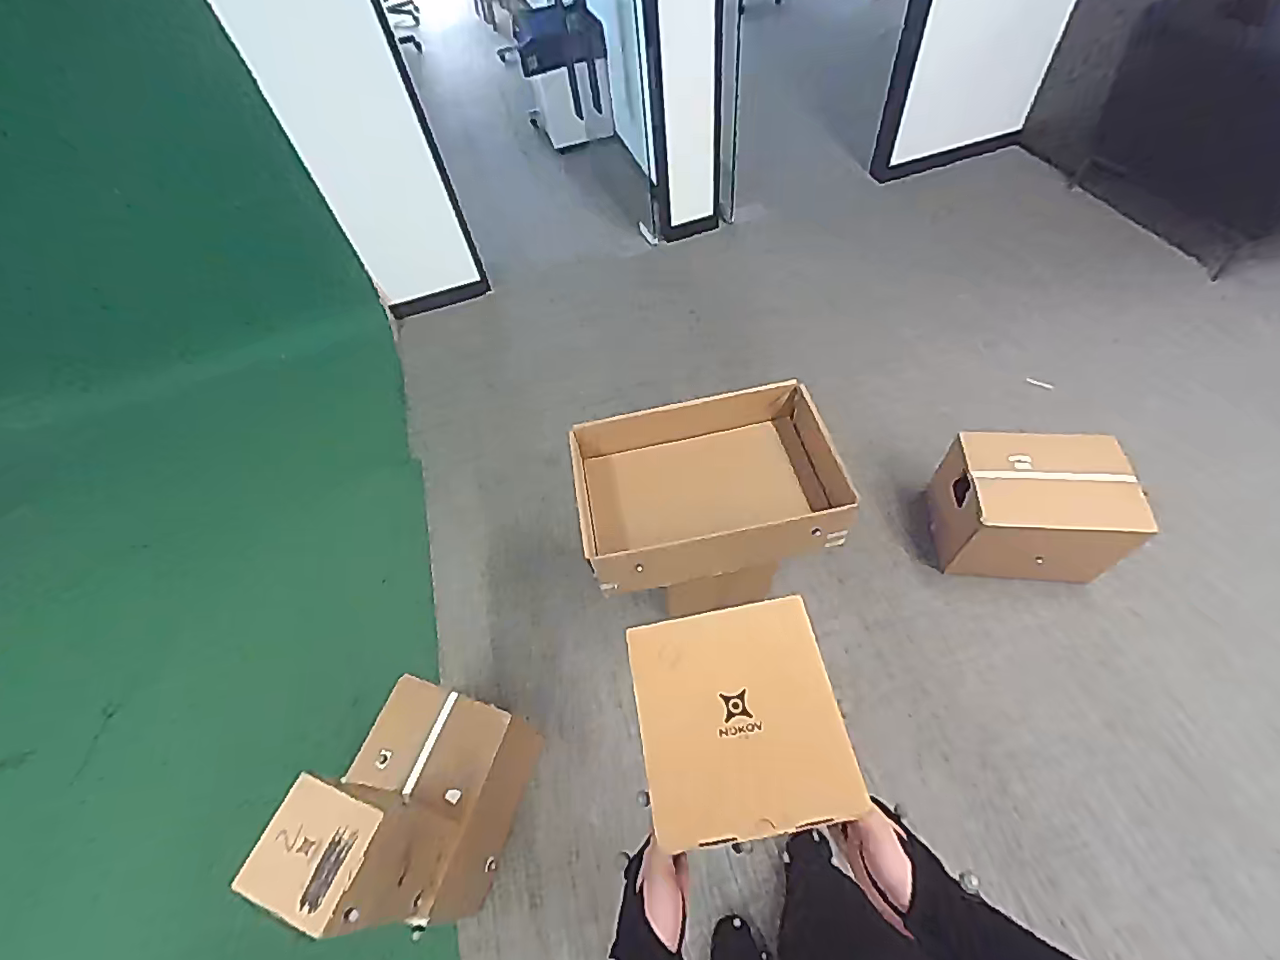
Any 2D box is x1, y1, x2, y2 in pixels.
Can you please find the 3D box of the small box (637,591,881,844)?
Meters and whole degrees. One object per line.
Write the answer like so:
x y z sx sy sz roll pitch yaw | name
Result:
0.096 0.229 0.514 0.168 0.176 0.179 -11 58 1 | small box

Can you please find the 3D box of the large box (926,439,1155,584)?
1.109 0.094 1.562 0.408 0.320 0.320 1 55 9 | large box

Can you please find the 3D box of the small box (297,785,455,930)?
-0.484 0.707 1.024 0.179 0.176 0.168 15 57 17 | small box
